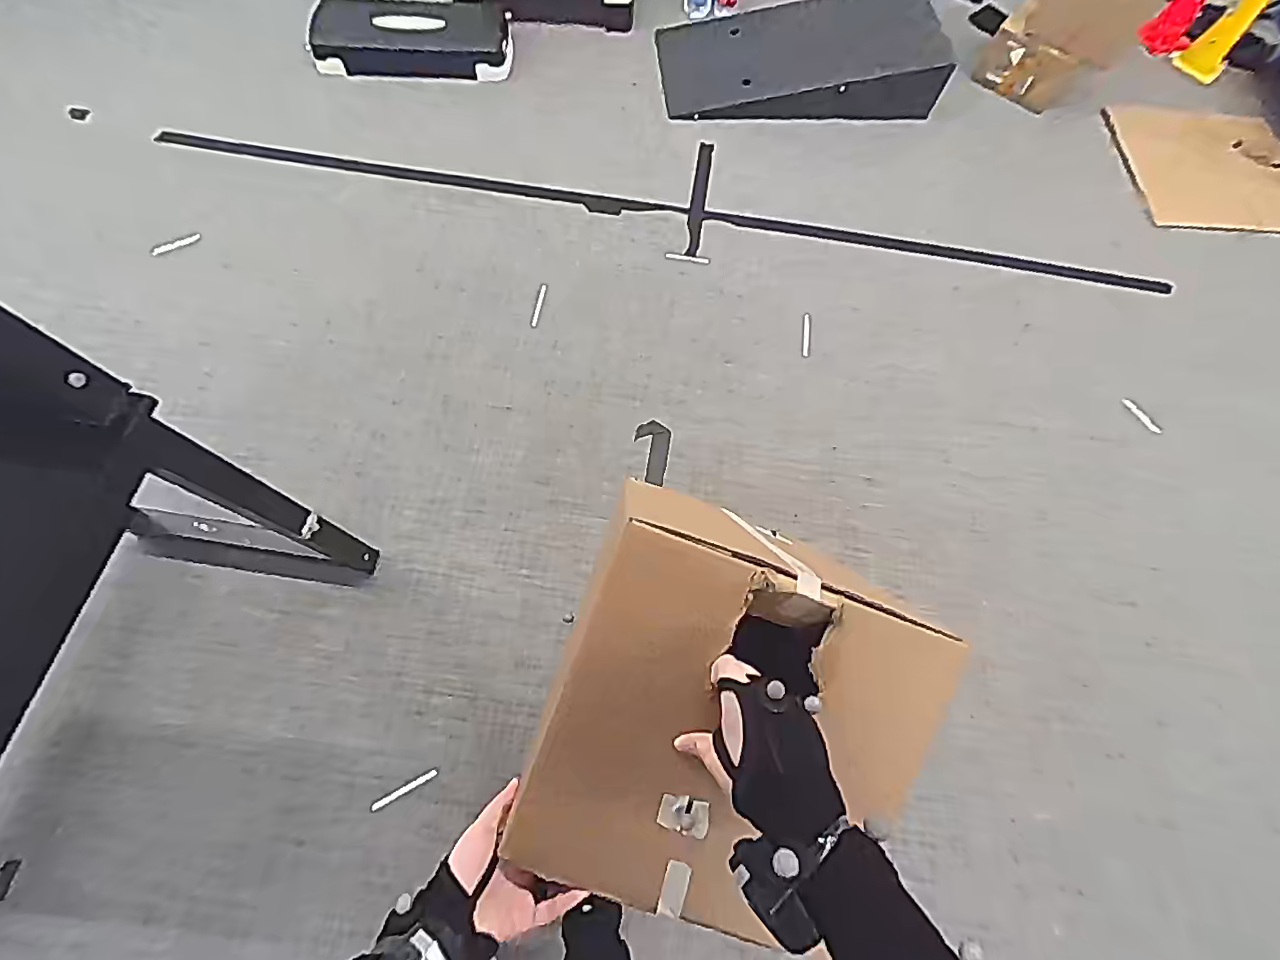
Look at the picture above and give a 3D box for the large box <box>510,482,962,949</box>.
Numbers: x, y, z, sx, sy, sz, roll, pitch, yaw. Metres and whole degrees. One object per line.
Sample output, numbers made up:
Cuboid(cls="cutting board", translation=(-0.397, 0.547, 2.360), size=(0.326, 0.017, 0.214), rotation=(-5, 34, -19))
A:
Cuboid(cls="large box", translation=(0.070, 0.209, 0.644), size=(0.320, 0.408, 0.320), rotation=(21, 93, -3))
